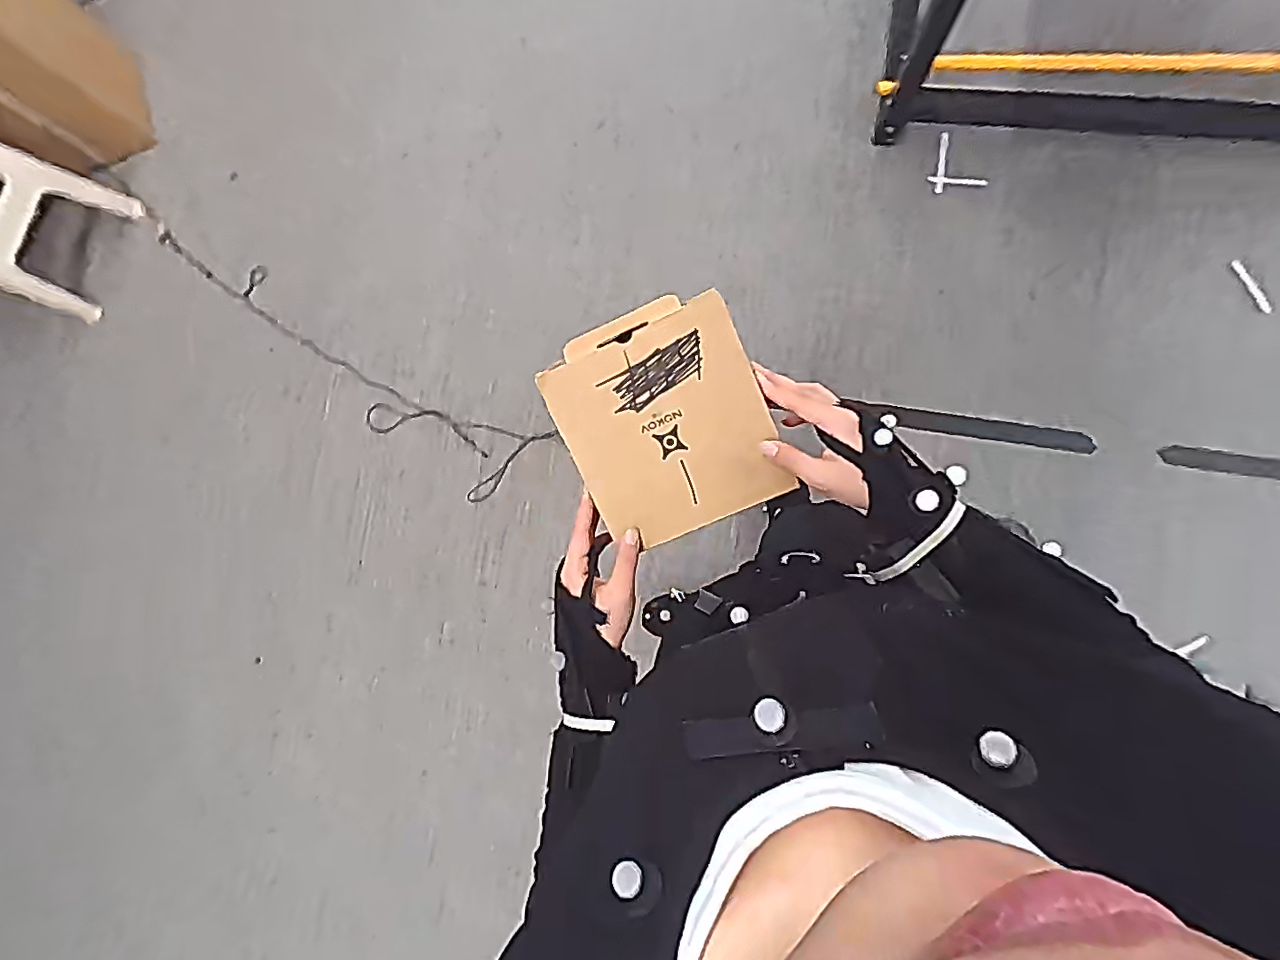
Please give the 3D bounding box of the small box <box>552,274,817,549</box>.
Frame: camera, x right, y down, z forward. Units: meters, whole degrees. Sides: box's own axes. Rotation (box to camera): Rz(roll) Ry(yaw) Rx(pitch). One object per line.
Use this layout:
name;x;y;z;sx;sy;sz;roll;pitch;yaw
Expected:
small box;0.041;-0.064;0.511;0.168;0.176;0.179;-24;99;10
